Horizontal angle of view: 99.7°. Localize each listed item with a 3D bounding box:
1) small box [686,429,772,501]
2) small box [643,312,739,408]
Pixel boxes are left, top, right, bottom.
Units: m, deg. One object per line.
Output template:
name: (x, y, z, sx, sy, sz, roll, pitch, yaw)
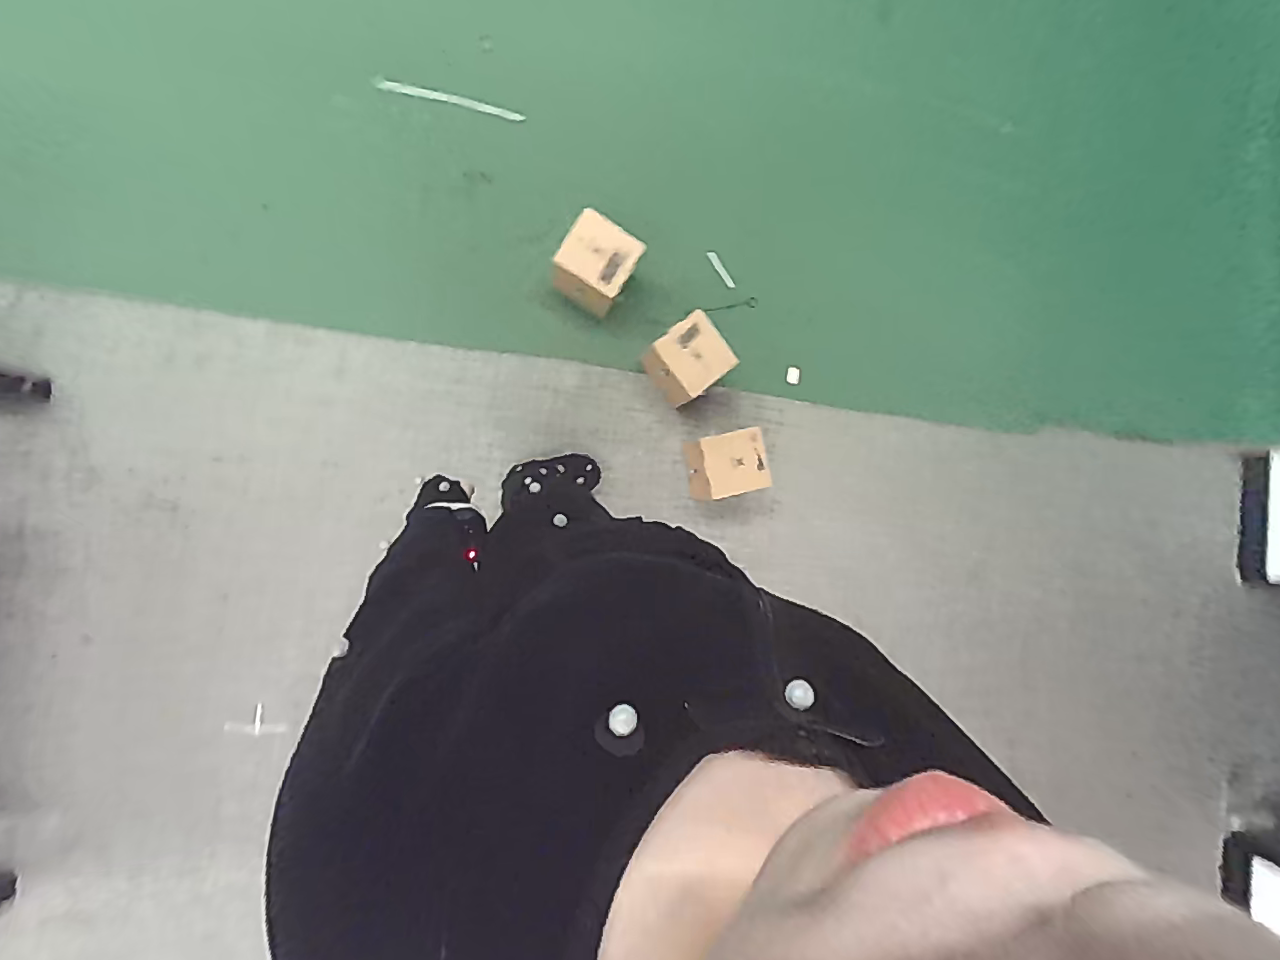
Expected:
small box: (0.235, -0.037, 1.485, 0.179, 0.176, 0.168, -12, 91, -12)
small box: (0.130, -0.317, 1.469, 0.168, 0.176, 0.179, -39, 97, -11)
